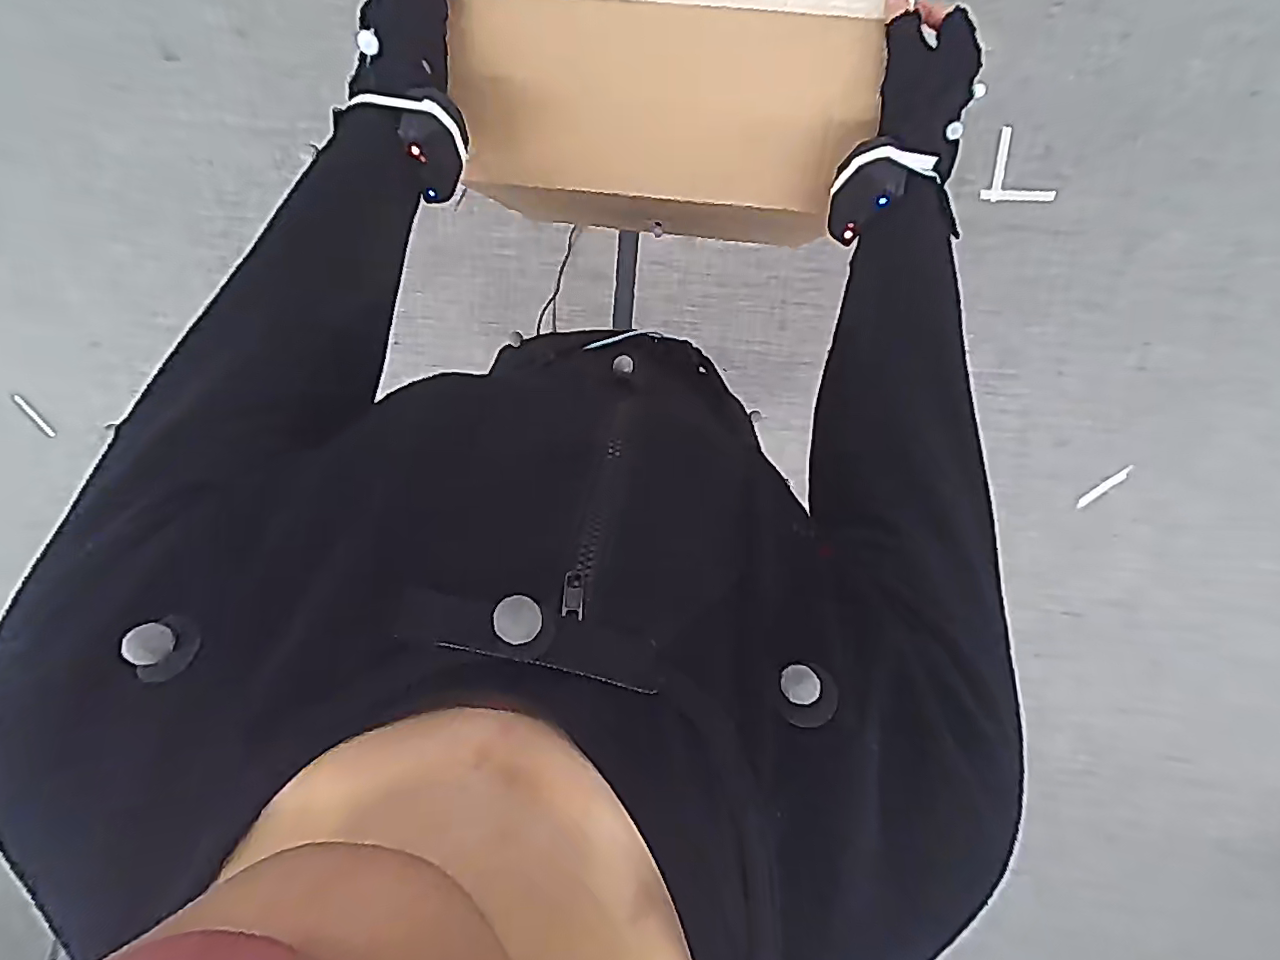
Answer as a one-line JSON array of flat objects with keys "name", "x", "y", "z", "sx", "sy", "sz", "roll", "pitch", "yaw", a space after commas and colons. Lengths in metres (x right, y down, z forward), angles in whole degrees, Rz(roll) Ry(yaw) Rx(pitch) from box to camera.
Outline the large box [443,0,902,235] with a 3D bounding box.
[{"name": "large box", "x": 0.039, "y": -0.468, "z": 0.604, "sx": 0.408, "sy": 0.320, "sz": 0.320, "roll": 7, "pitch": 108, "yaw": 3}]
